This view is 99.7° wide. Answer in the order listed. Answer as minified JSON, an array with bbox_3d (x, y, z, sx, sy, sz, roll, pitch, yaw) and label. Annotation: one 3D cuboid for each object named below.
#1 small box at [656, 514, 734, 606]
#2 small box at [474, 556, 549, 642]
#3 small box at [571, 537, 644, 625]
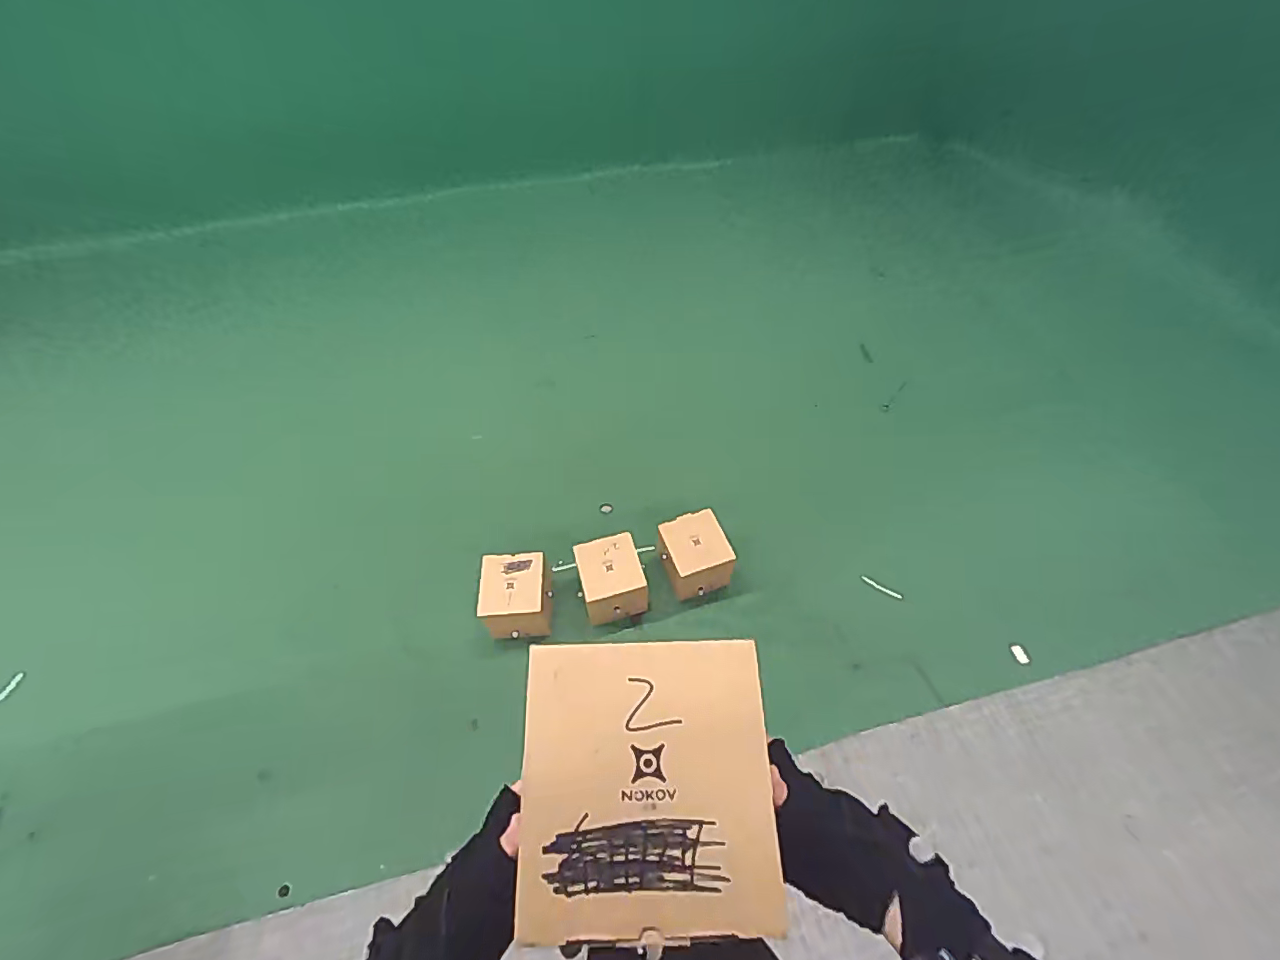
[{"bbox_3d":[0.149,0.230,1.547,0.168,0.176,0.179,-16,54,-11],"label":"small box"},{"bbox_3d":[-0.342,0.325,1.474,0.168,0.176,0.179,-3,54,-2],"label":"small box"},{"bbox_3d":[-0.088,0.287,1.500,0.168,0.176,0.179,-12,53,-10],"label":"small box"}]
